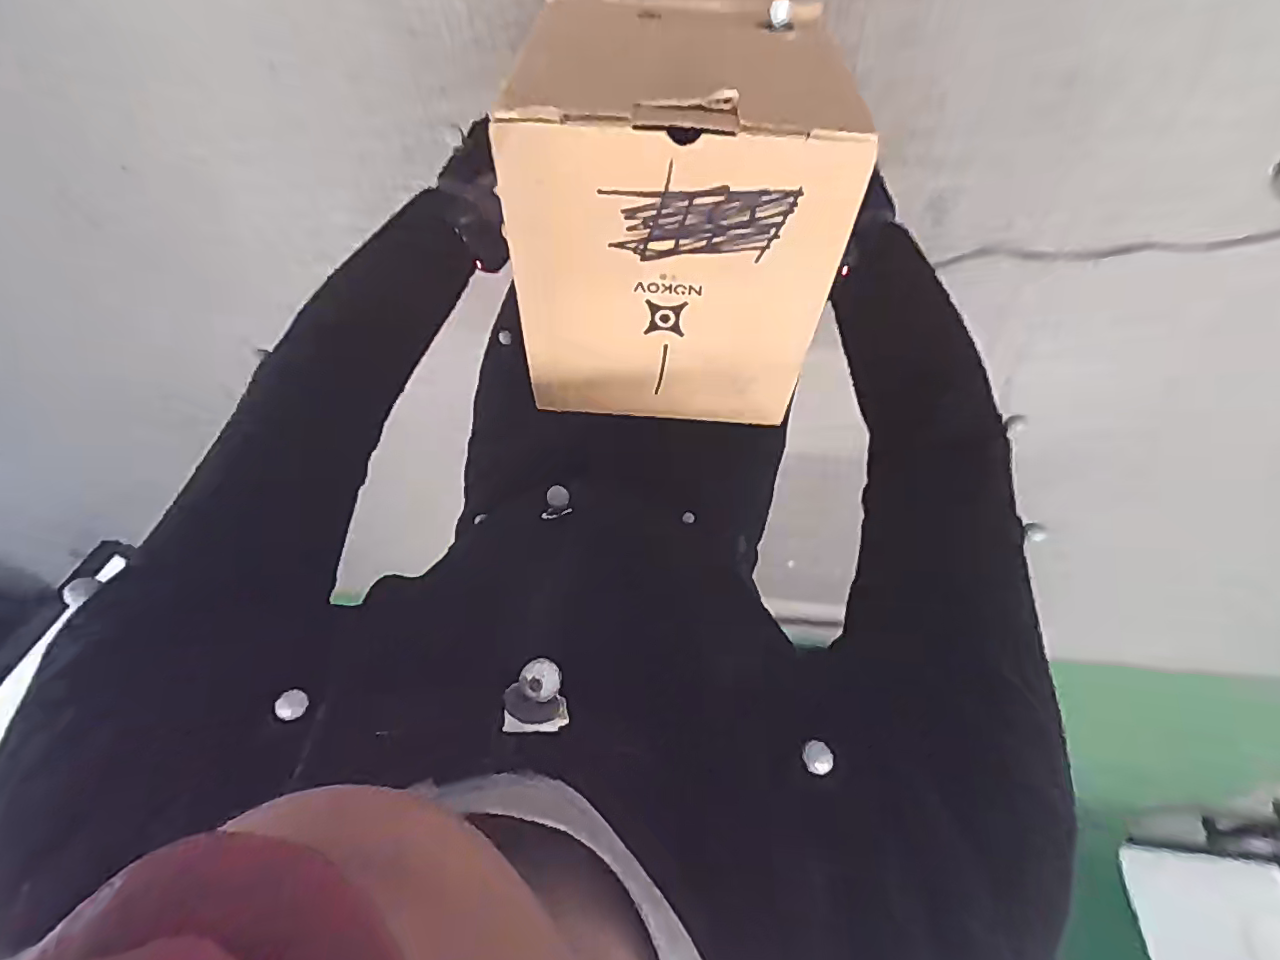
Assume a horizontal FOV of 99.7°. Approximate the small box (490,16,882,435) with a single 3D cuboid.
[{"bbox_3d":[0.019,-0.151,0.333,0.168,0.176,0.179,5,144,1],"label":"small box"}]
